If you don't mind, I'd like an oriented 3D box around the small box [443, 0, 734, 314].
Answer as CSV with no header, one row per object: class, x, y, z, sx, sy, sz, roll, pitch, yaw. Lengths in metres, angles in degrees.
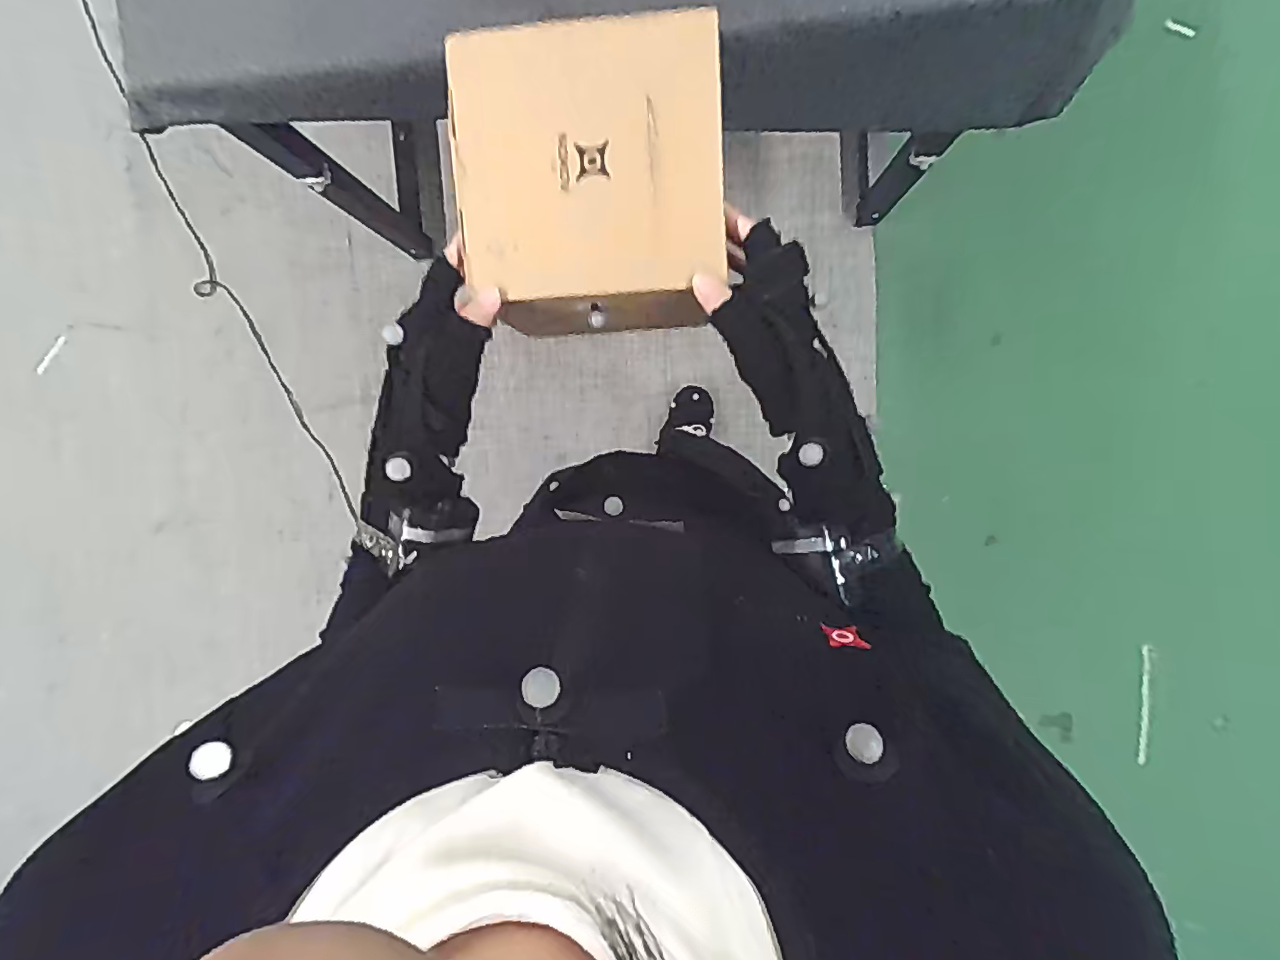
small box,-0.026,-0.230,0.418,0.179,0.176,0.168,-4,98,4
